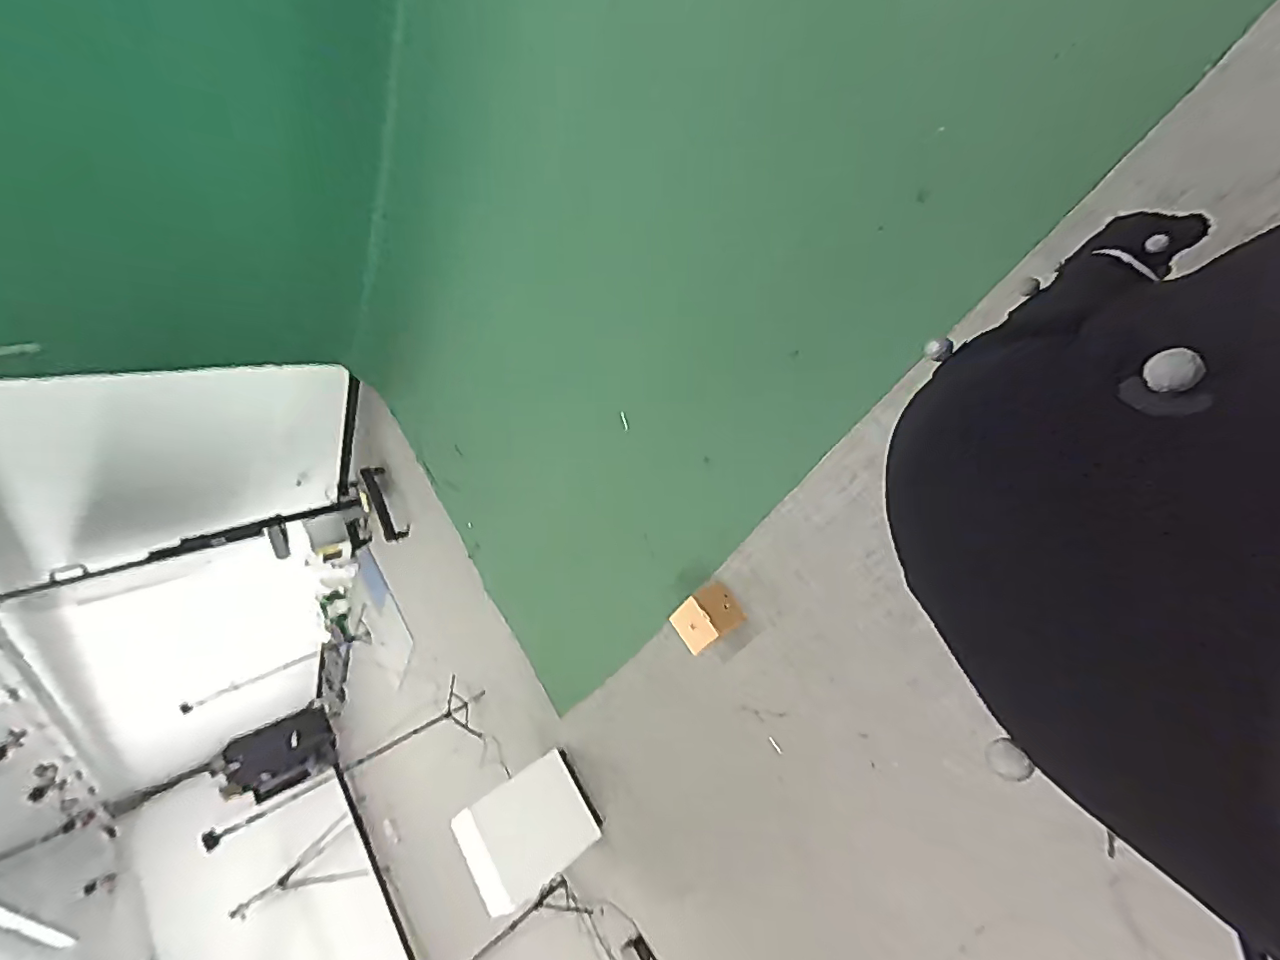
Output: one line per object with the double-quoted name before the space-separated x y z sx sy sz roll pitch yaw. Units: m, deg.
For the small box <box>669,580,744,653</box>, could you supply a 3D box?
"small box" 0.245 0.496 1.977 0.168 0.176 0.179 53 132 21
